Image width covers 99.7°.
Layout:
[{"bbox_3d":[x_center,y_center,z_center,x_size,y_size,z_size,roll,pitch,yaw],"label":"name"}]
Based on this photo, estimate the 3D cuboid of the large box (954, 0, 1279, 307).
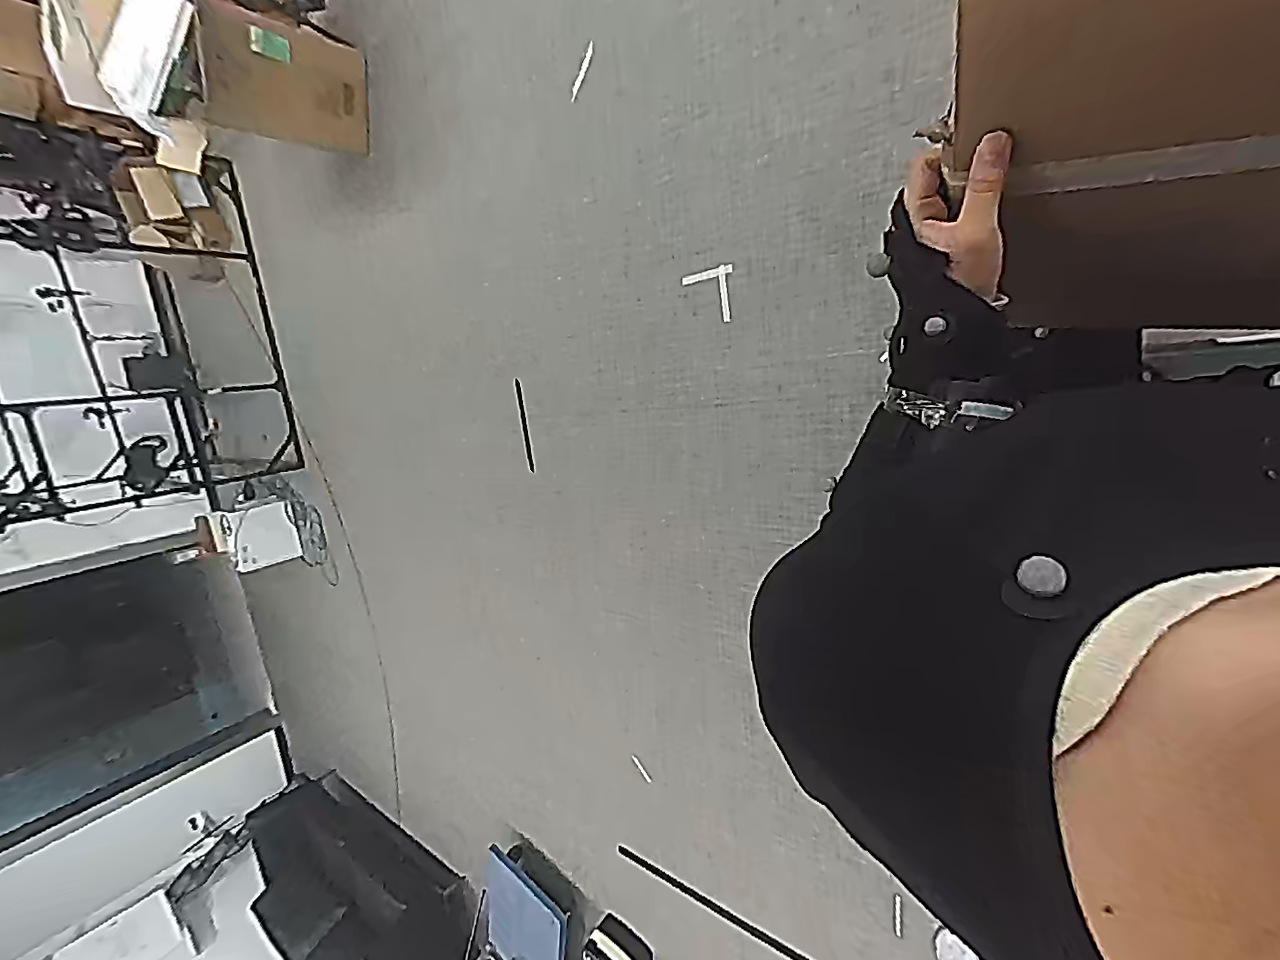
[{"bbox_3d":[0.395,-0.307,0.247,0.408,0.320,0.320,10,75,33],"label":"large box"}]
